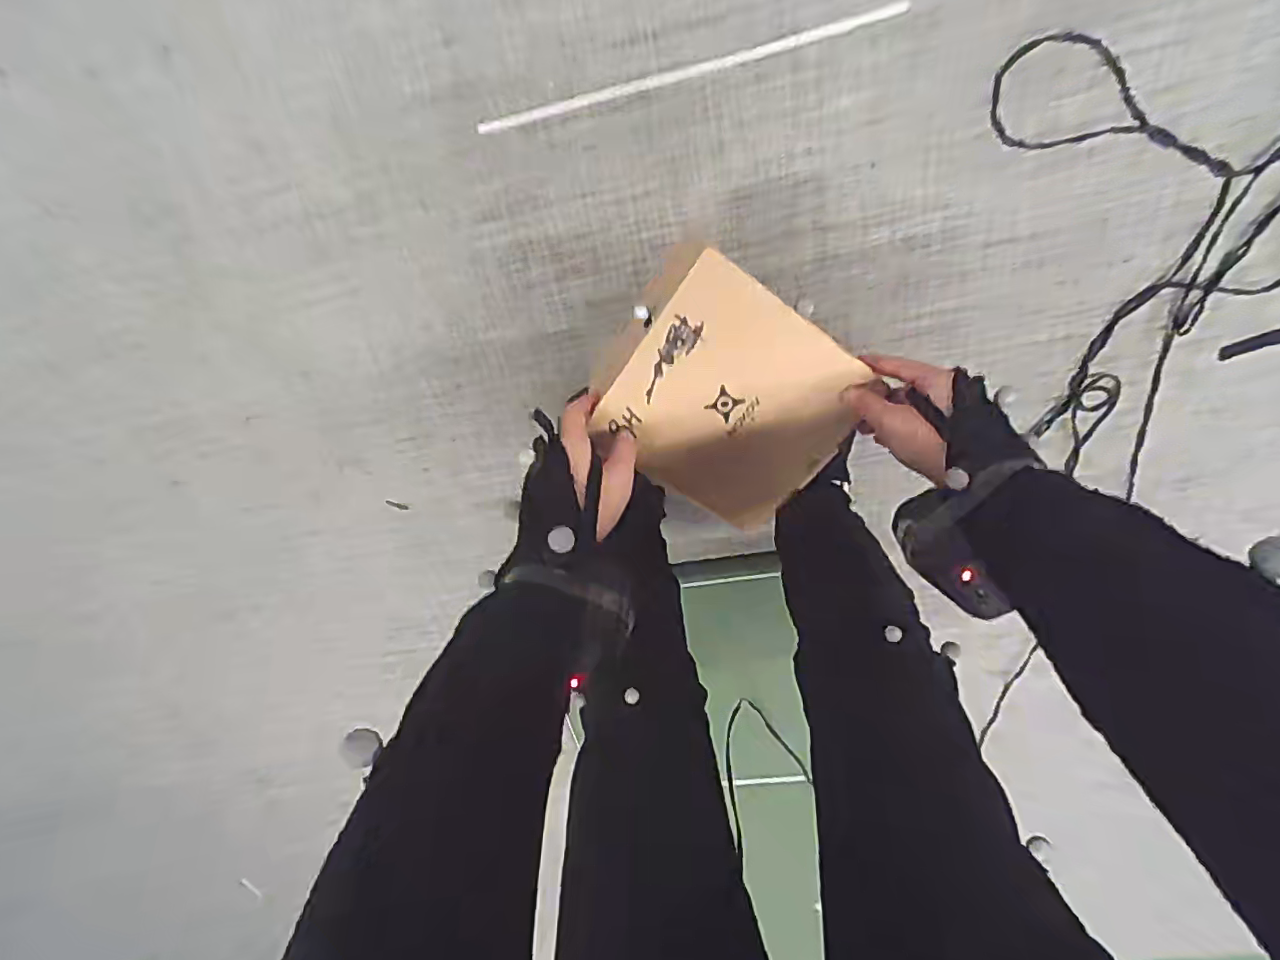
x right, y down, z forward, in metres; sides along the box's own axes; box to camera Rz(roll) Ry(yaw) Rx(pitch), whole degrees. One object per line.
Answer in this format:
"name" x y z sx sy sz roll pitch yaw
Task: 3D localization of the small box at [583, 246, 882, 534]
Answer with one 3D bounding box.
"small box" 0.070 -0.090 0.488 0.179 0.176 0.168 31 113 -16
